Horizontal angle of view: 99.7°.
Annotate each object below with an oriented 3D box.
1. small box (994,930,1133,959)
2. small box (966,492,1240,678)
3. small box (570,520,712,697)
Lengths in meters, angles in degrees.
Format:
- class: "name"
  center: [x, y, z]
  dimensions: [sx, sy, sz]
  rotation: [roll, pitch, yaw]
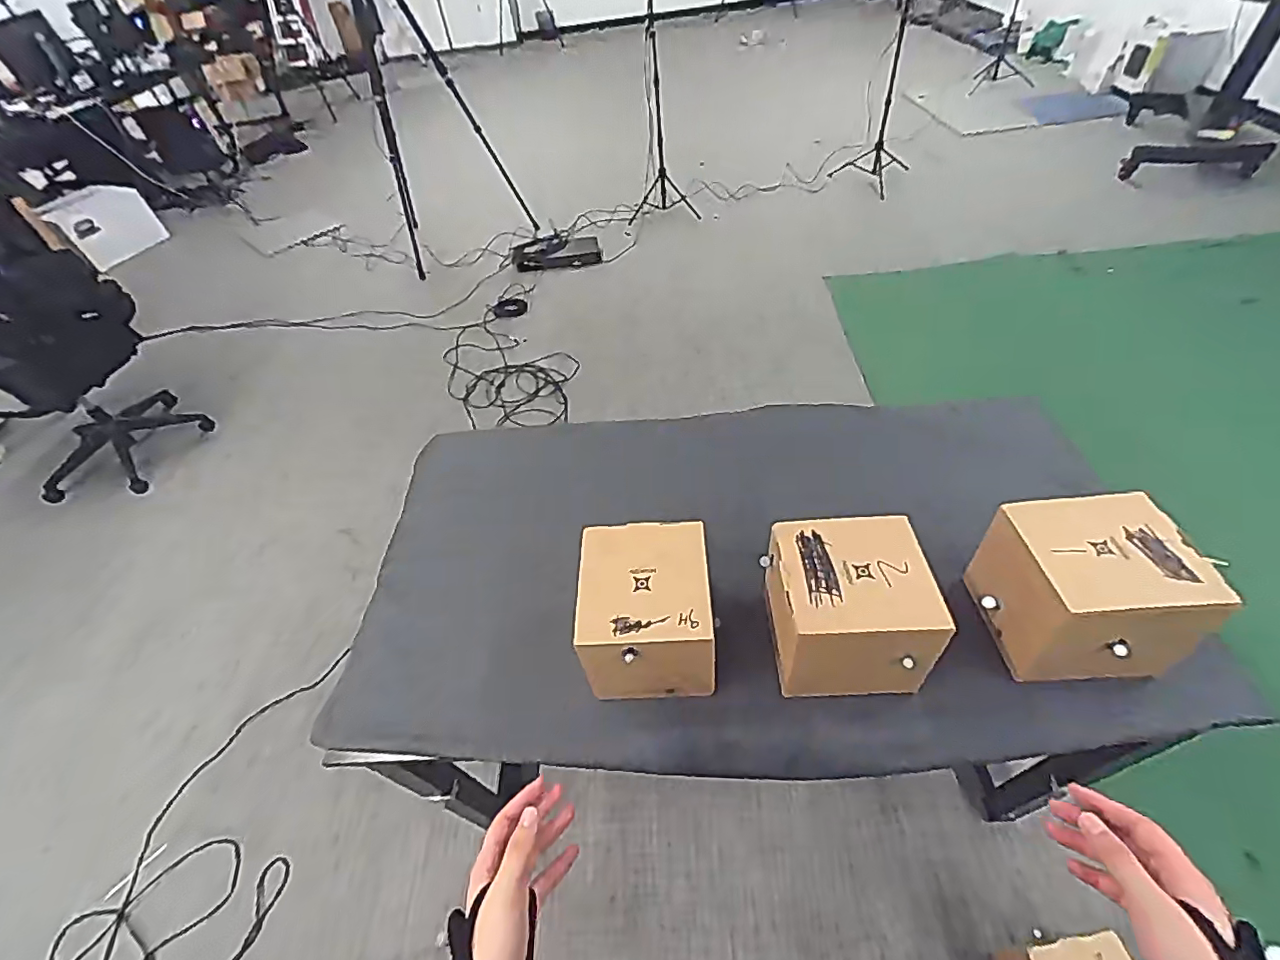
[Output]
- class: "small box"
  center: [0.775, 0.917, 0.951]
  dimensions: [0.168, 0.176, 0.179]
  rotation: [-10, 49, -1]
- class: "small box"
  center: [0.556, 0.136, 0.685]
  dimensions: [0.179, 0.176, 0.168]
  rotation: [-5, 45, 6]
- class: "small box"
  center: [0.010, 0.175, 0.735]
  dimensions: [0.168, 0.176, 0.179]
  rotation: [-4, 47, 6]
